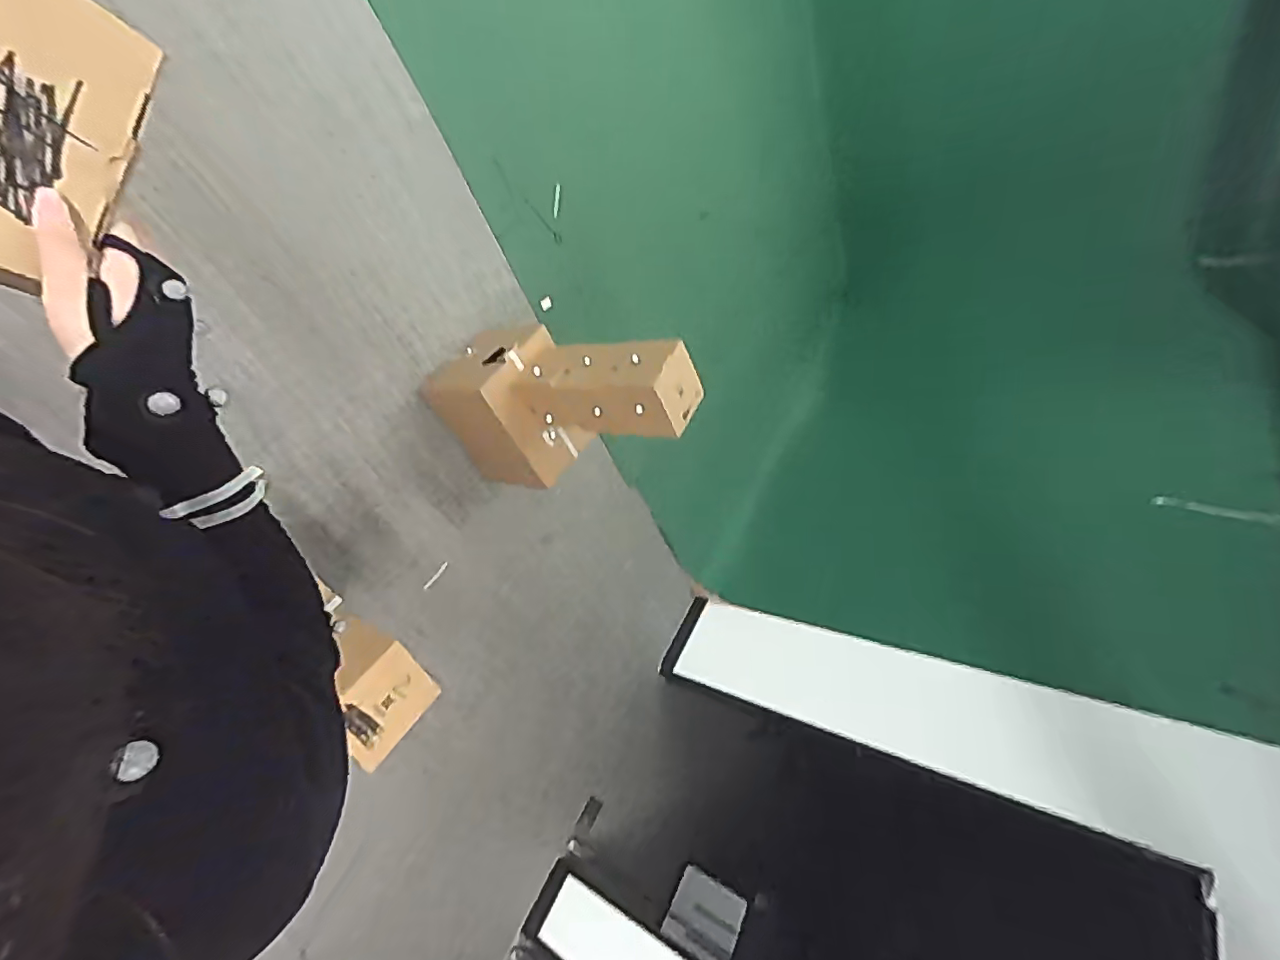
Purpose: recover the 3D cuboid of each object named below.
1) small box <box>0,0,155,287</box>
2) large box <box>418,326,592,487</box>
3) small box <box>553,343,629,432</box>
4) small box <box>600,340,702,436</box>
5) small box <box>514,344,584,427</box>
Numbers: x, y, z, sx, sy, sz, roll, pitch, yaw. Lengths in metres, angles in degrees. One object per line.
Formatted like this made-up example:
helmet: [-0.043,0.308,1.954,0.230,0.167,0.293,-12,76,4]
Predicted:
small box: [-0.435,-0.229,0.309,0.179,0.176,0.168,20,85,-54]
large box: [-0.412,-0.235,1.737,0.320,0.320,0.408,-56,137,-31]
small box: [-0.103,-0.247,1.465,0.168,0.176,0.179,-60,139,-27]
small box: [0.027,-0.229,1.365,0.168,0.176,0.179,-59,137,-29]
small box: [-0.236,-0.270,1.558,0.179,0.176,0.168,-58,137,-31]
